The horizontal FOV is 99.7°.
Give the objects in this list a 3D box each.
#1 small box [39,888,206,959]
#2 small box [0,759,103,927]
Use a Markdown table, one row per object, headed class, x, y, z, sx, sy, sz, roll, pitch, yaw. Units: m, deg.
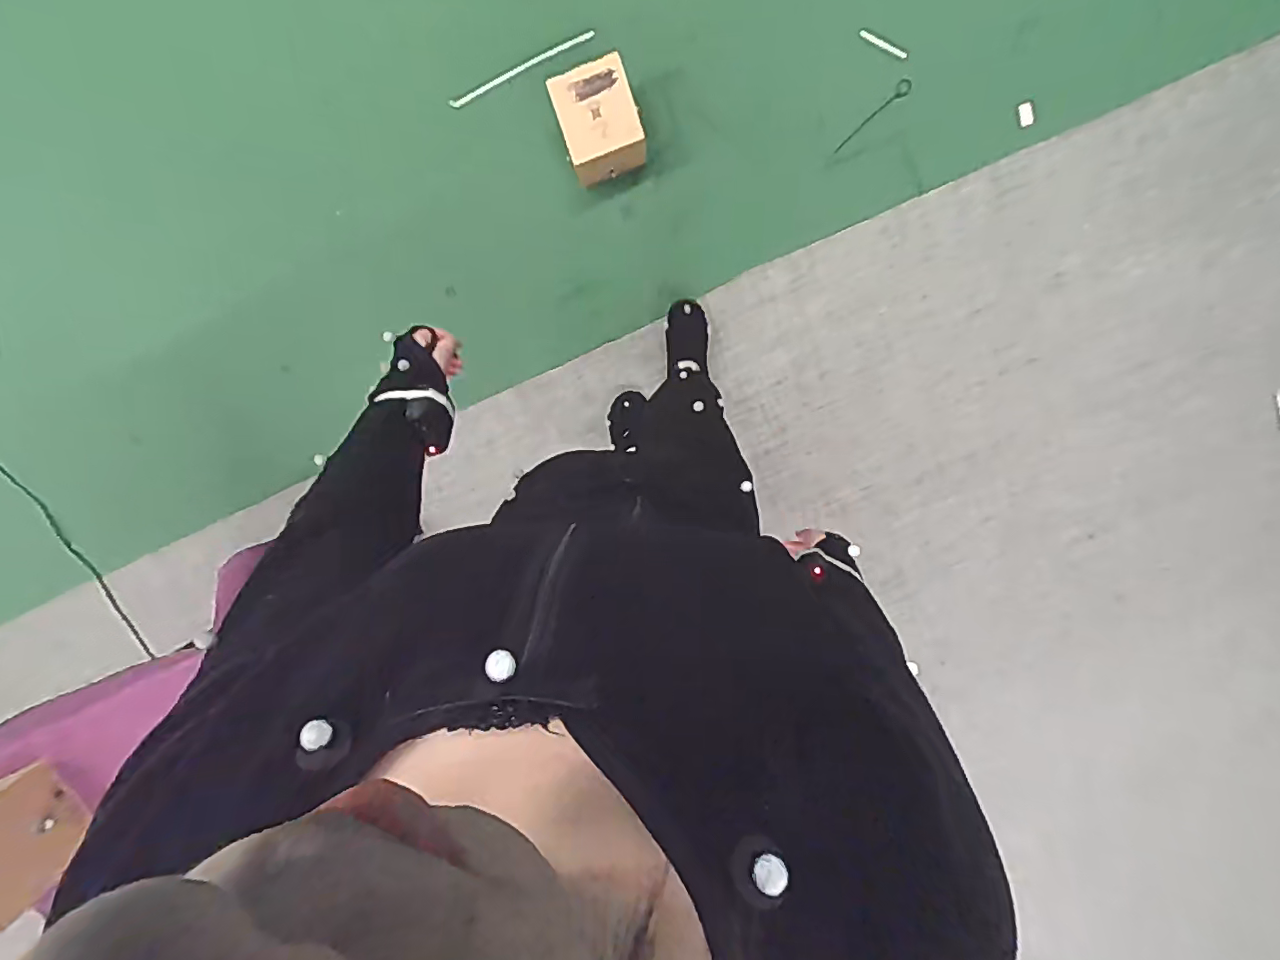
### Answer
| class | x | y | z | sx | sy | sz | roll | pitch | yaw |
| --- | --- | --- | --- | --- | --- | --- | --- | --- | --- |
| small box | -0.878 | 0.823 | 0.879 | 0.179 | 0.176 | 0.168 | -26 | 101 | 6 |
| small box | -0.998 | 0.568 | 0.817 | 0.179 | 0.176 | 0.168 | -24 | 102 | 4 |
